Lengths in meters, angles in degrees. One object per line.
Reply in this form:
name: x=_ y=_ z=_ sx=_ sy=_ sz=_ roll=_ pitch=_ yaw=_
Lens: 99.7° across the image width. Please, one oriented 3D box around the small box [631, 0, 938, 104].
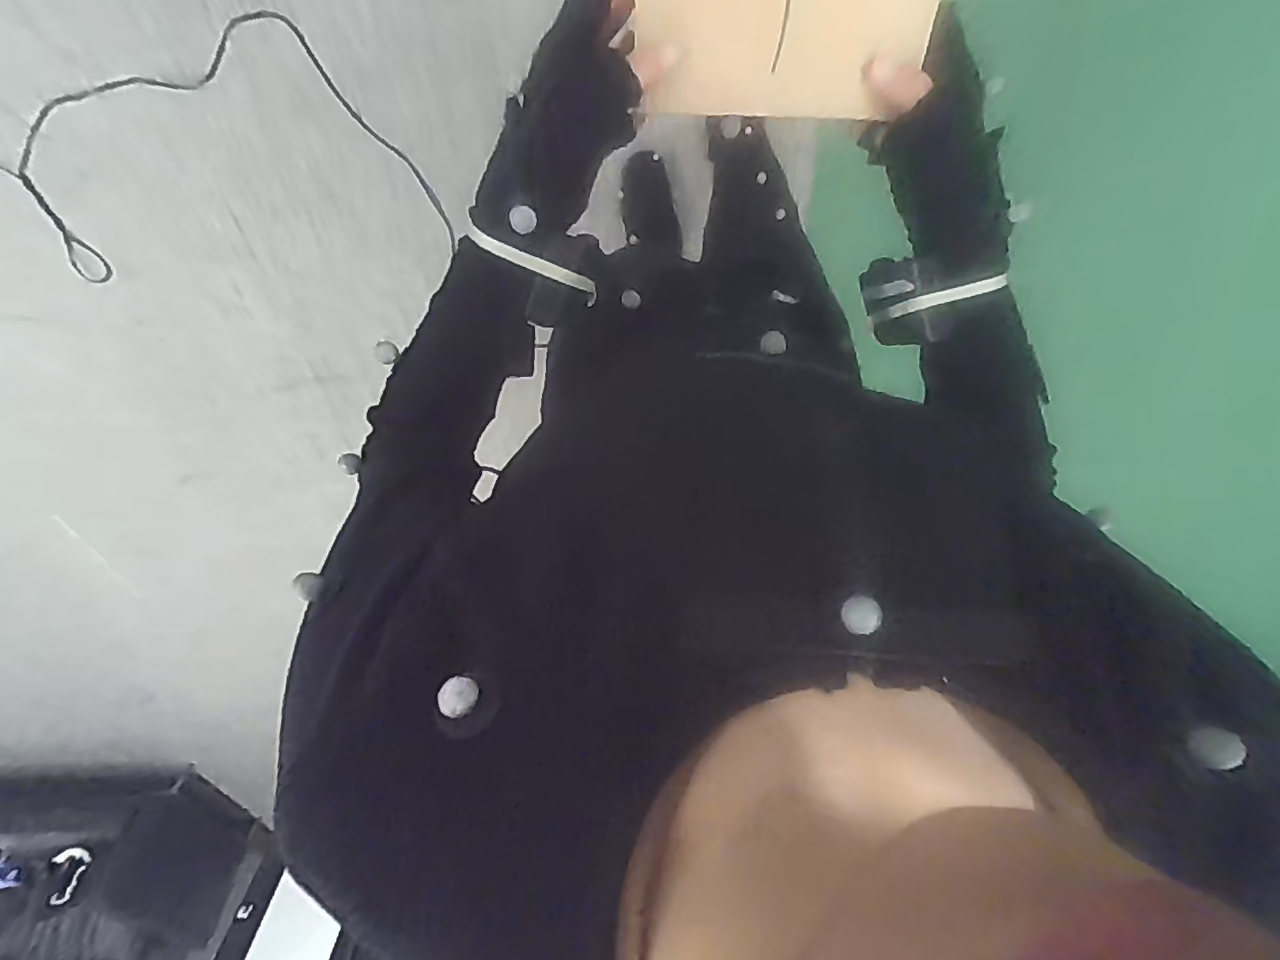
small box: x=0.080 y=-0.342 z=0.333 sx=0.168 sy=0.176 sz=0.179 roll=1 pitch=126 yaw=-2
